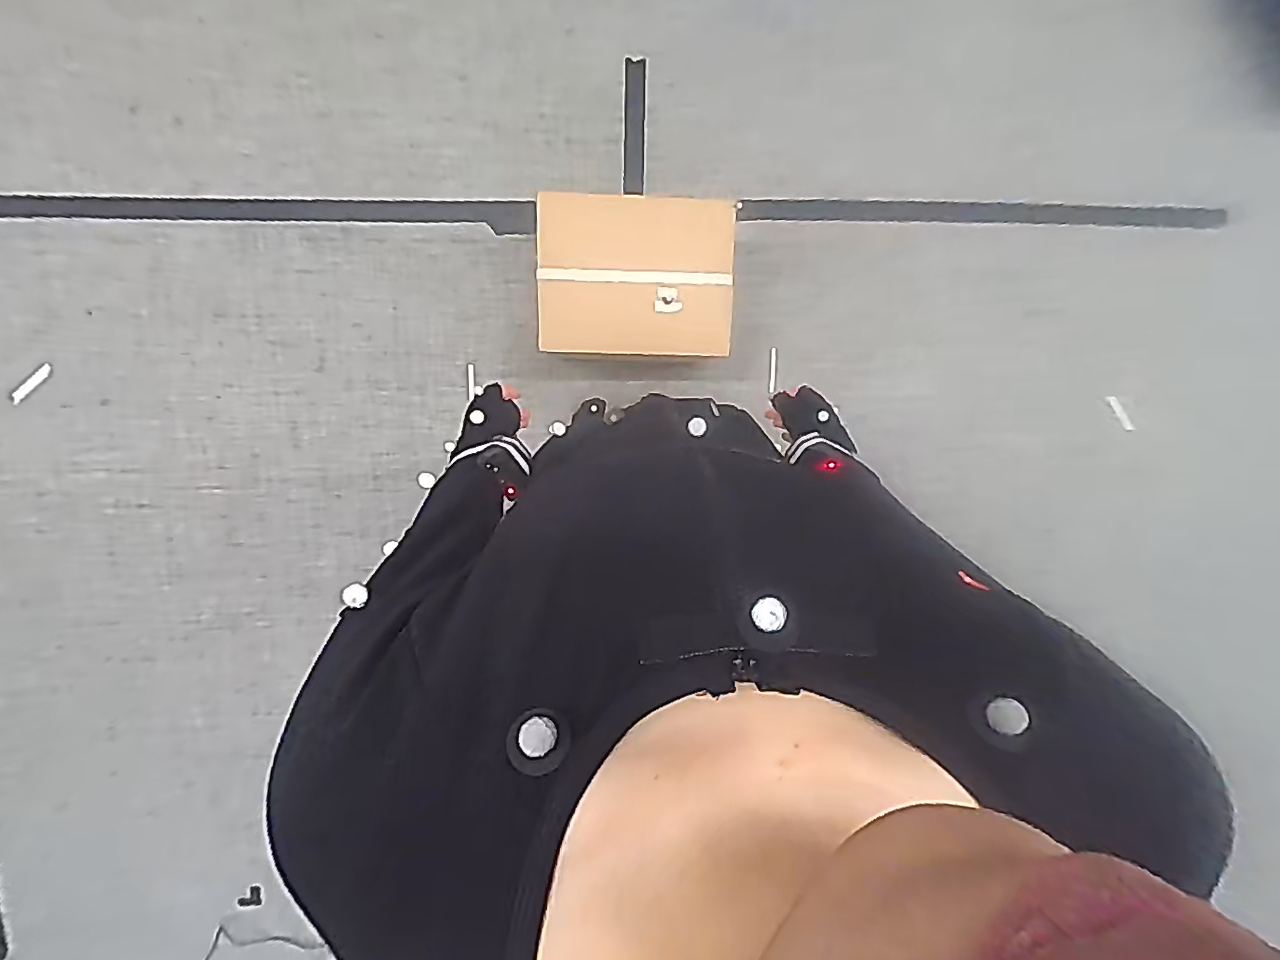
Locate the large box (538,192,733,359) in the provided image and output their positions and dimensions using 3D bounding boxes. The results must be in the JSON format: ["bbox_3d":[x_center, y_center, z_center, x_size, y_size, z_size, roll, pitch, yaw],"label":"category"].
[{"bbox_3d":[-0.020,-0.450,1.263,0.408,0.320,0.320,0,101,-5],"label":"large box"}]
